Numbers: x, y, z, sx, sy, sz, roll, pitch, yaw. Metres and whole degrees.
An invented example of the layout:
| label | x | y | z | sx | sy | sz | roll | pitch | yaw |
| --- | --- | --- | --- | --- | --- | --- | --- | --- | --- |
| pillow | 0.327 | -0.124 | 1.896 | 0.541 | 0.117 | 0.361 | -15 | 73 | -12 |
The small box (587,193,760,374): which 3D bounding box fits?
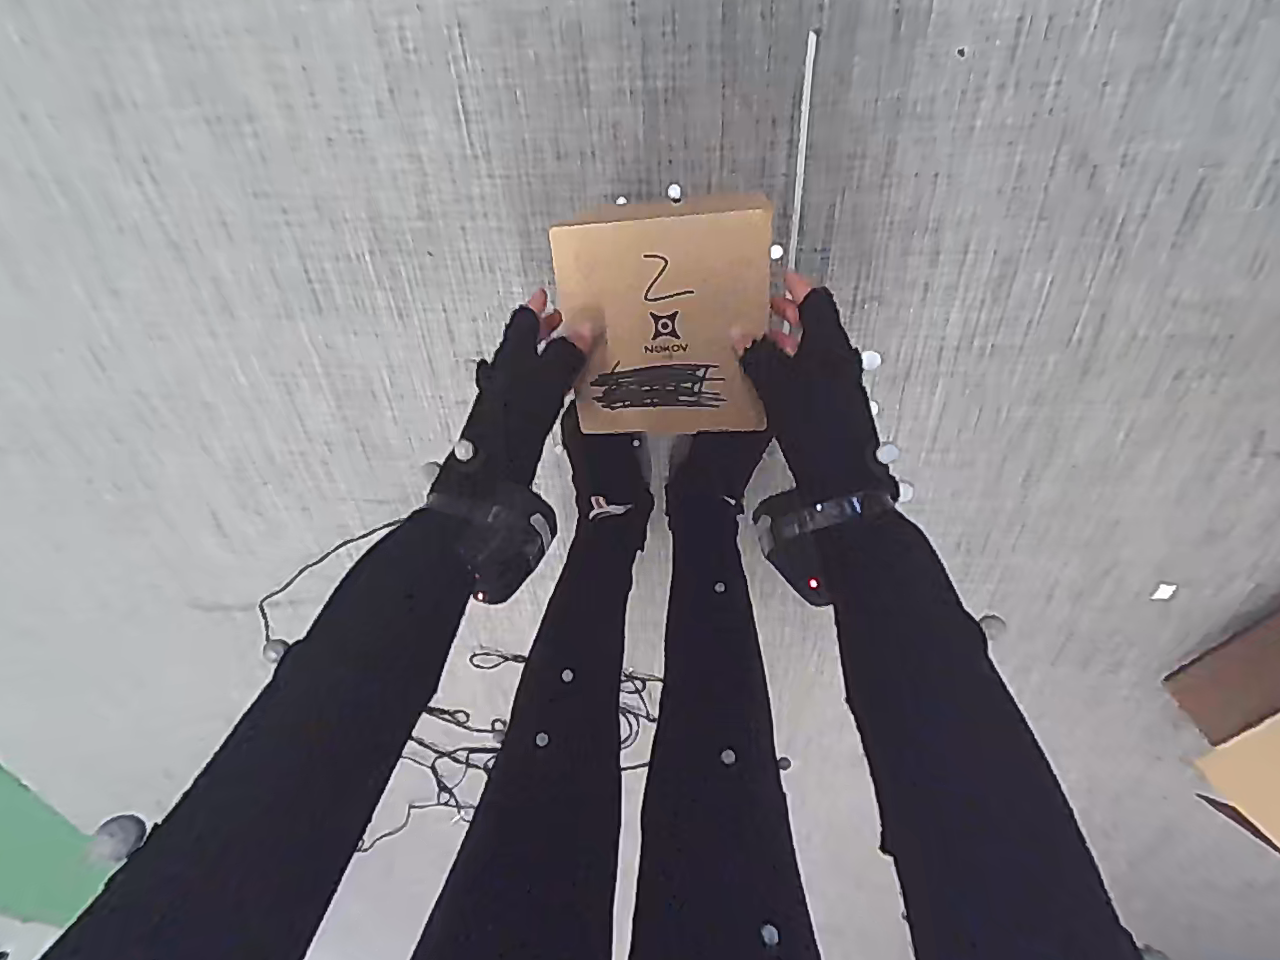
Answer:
| label | x | y | z | sx | sy | sz | roll | pitch | yaw |
| --- | --- | --- | --- | --- | --- | --- | --- | --- | --- |
| small box | 0.048 | -0.237 | 0.645 | 0.179 | 0.176 | 0.168 | -1 | 121 | 11 |
